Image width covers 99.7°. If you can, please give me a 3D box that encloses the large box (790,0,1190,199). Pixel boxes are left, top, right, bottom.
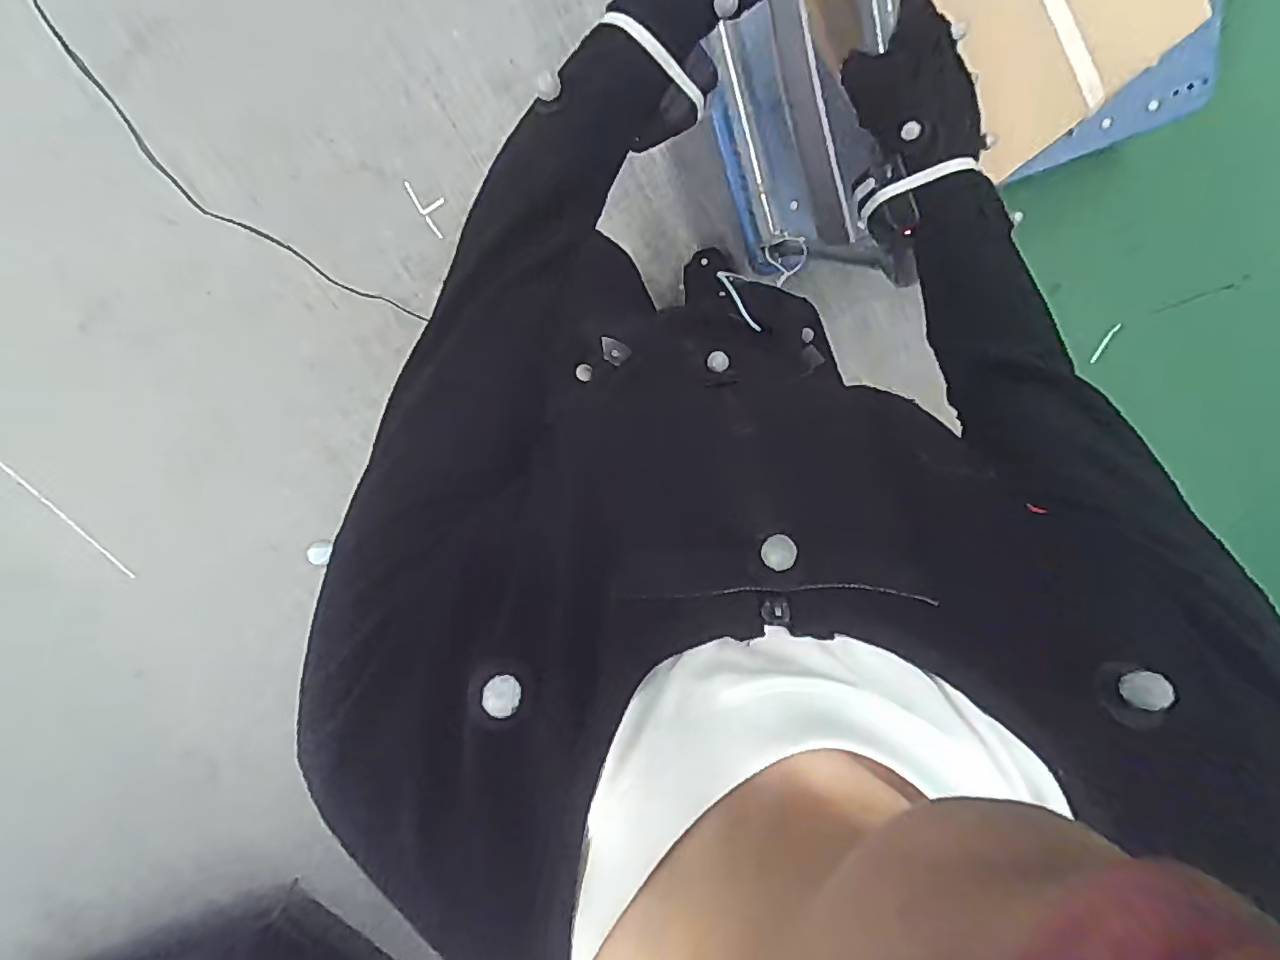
[{"bbox_3d":[0.497,-0.717,0.841,0.320,0.320,0.408,-37,108,17],"label":"large box"}]
